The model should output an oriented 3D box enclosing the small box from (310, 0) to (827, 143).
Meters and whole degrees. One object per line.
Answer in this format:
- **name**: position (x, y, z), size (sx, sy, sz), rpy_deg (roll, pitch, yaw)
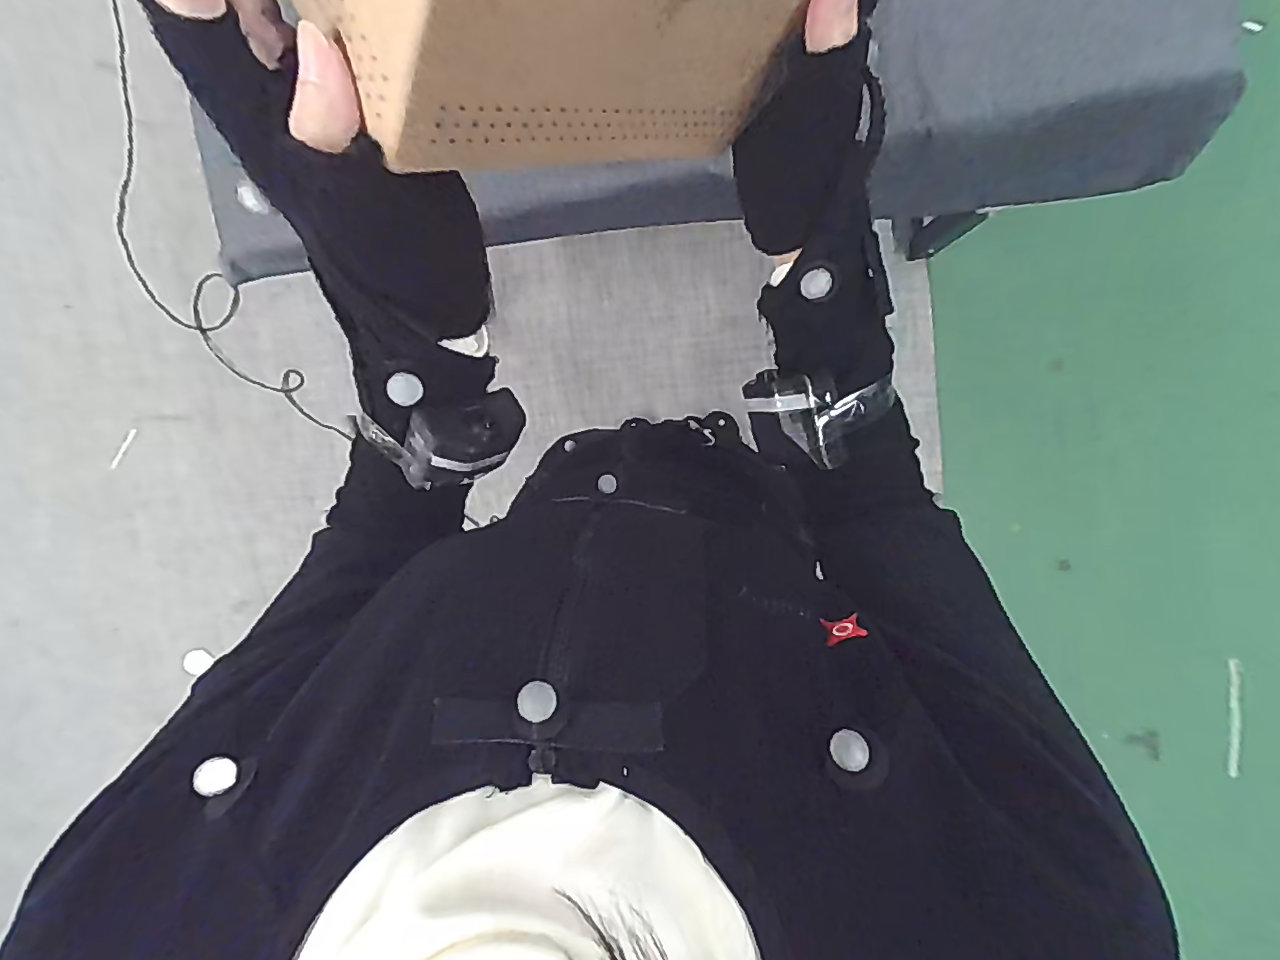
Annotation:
- **small box**: position (-0.014, -0.232, 0.159), size (0.179, 0.176, 0.168), rpy_deg (-29, 91, -36)
